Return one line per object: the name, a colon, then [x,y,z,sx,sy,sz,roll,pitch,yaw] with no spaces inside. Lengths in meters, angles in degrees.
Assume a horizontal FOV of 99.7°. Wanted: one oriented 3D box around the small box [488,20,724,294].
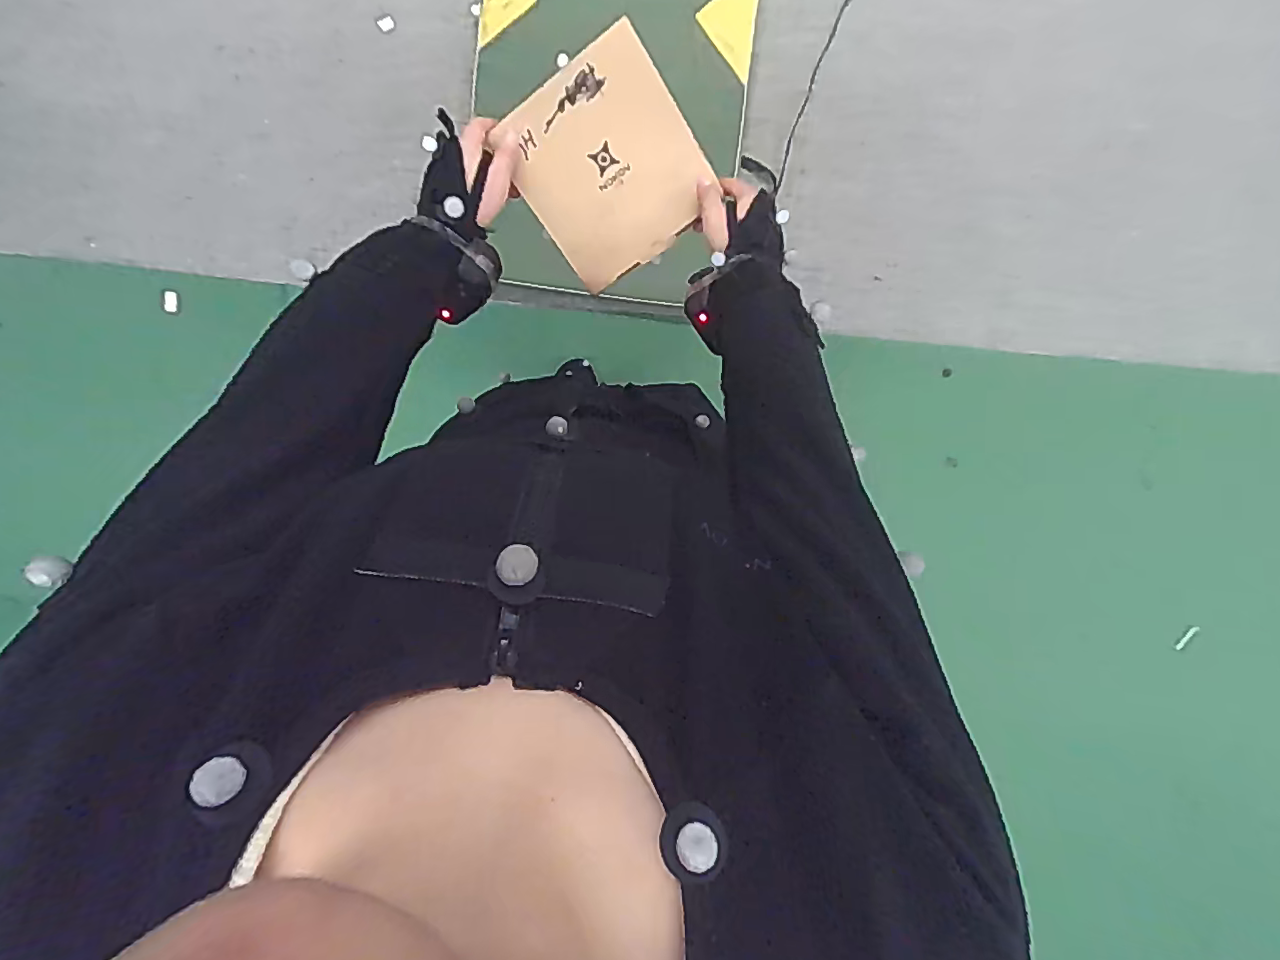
small box: [-0.032,-0.331,0.591,0.168,0.176,0.179,-33,110,10]
